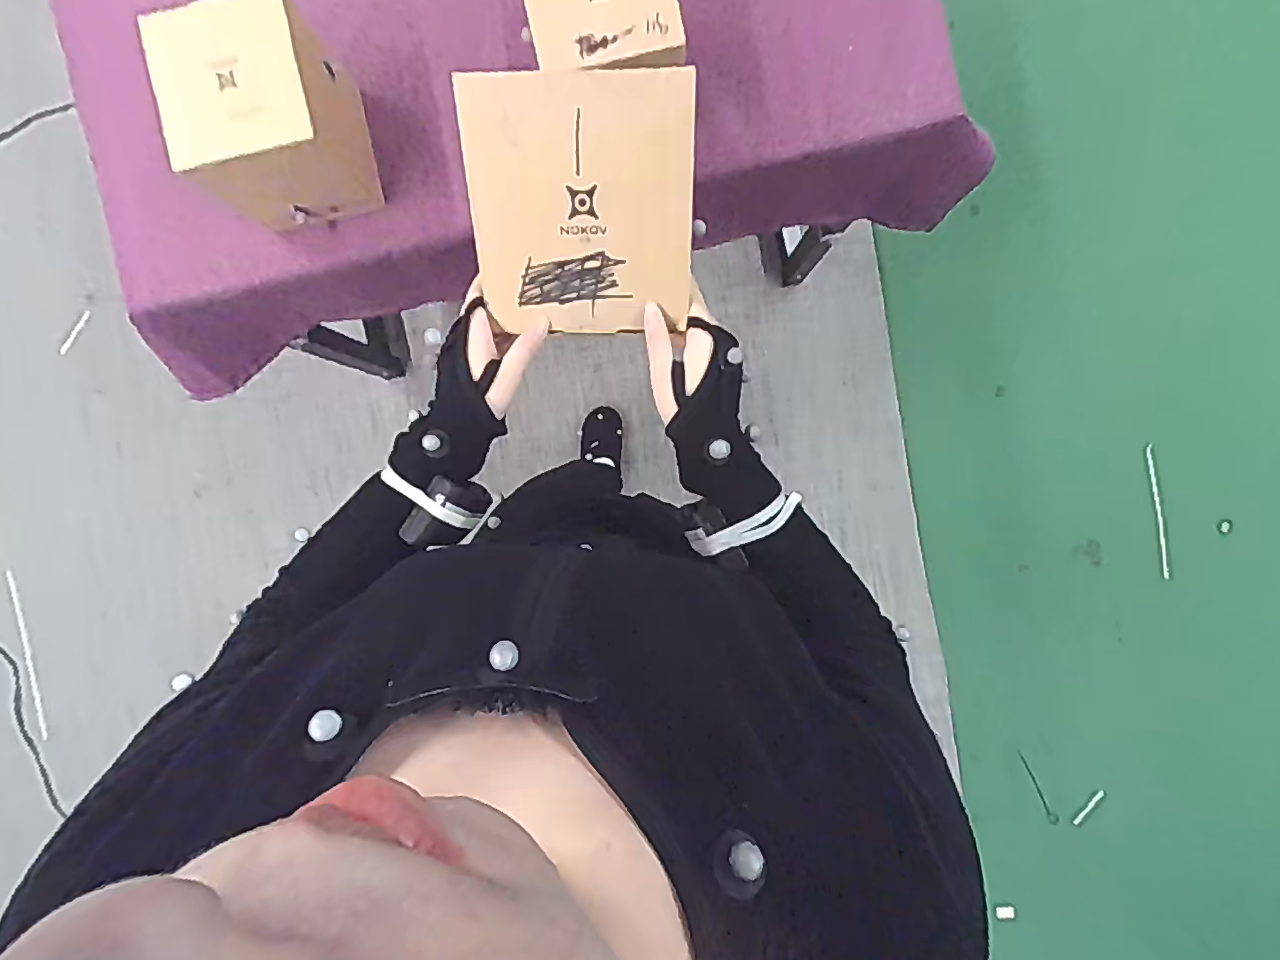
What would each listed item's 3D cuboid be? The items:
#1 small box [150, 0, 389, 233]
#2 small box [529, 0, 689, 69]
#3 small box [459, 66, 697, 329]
[{"bbox_3d":[-0.449,-0.446,0.685,0.168,0.176,0.179,-12,93,2],"label":"small box"},{"bbox_3d":[-0.041,-0.541,0.674,0.168,0.176,0.179,-12,91,2],"label":"small box"},{"bbox_3d":[-0.038,-0.239,0.474,0.168,0.176,0.179,0,118,2],"label":"small box"}]
